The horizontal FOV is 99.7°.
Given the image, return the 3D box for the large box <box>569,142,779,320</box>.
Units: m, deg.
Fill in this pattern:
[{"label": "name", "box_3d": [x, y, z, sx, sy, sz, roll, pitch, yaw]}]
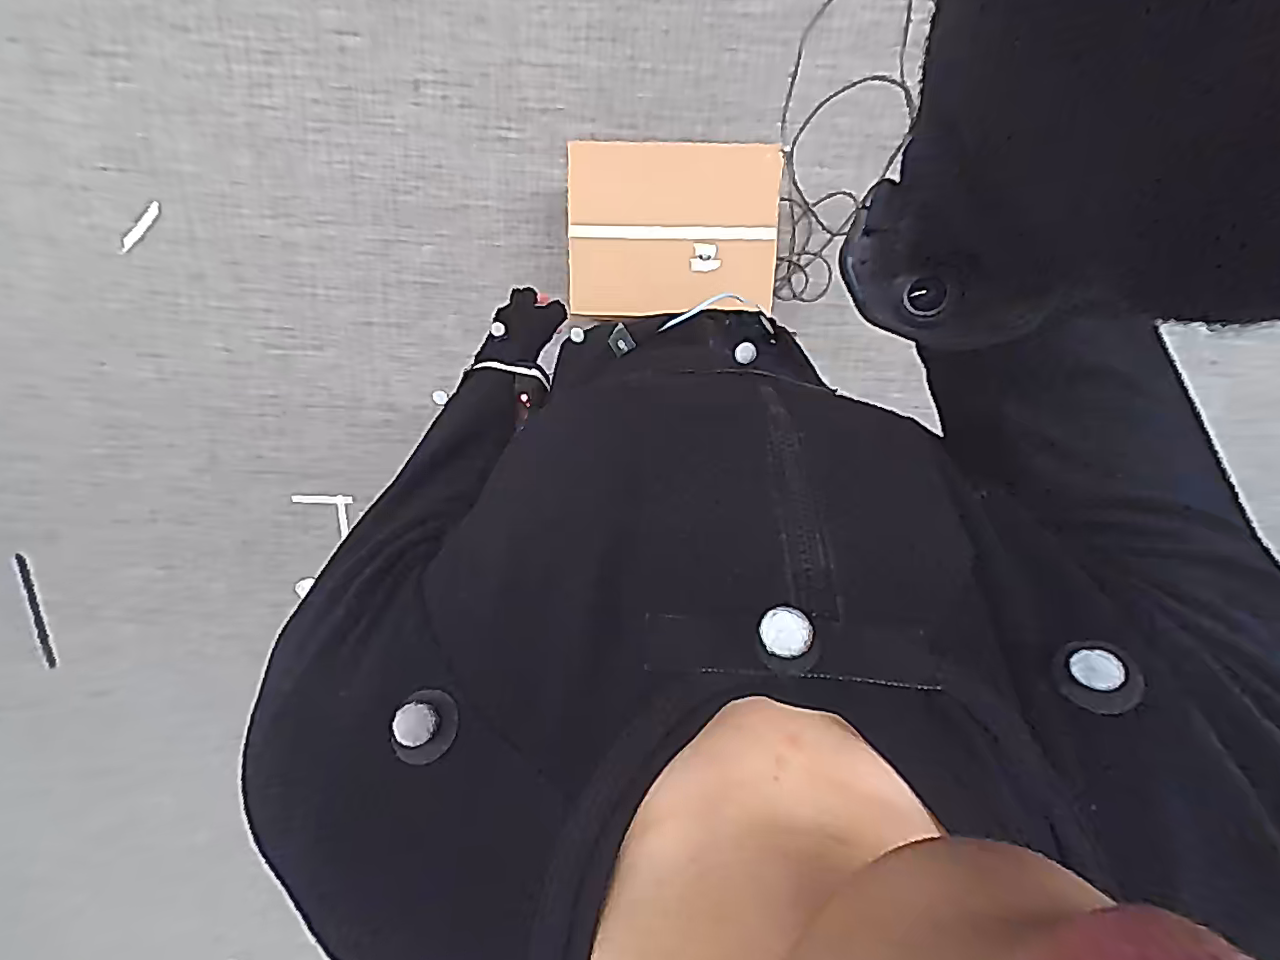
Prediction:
[{"label": "large box", "box_3d": [0.063, -0.523, 1.200, 0.408, 0.320, 0.320, 2, 105, 1]}]
